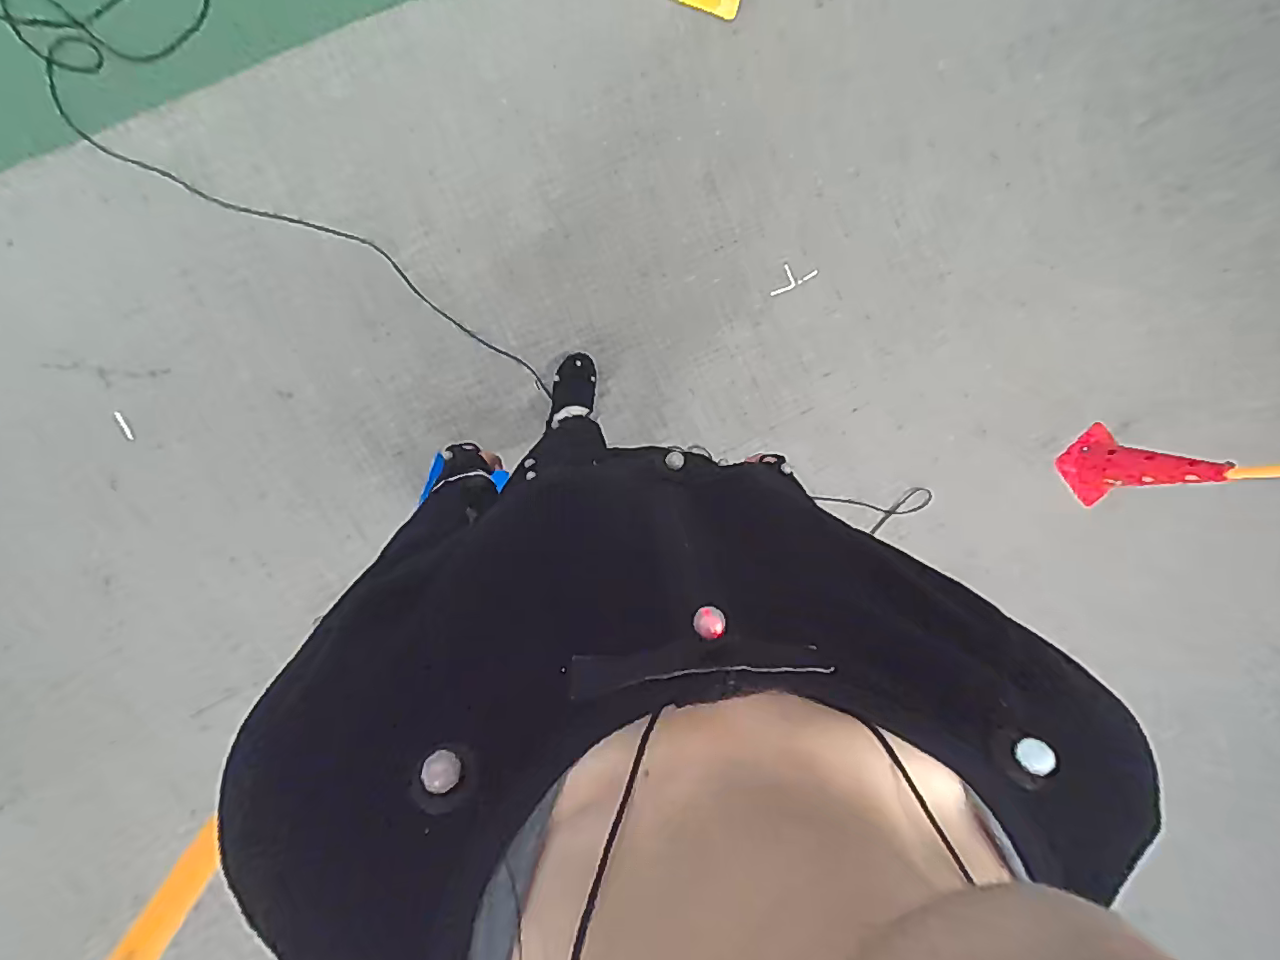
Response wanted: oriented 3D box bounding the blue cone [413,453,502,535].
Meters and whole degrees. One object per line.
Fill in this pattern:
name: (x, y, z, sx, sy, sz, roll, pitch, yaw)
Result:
blue cone: (-0.445, 0.062, 1.248, 0.192, 0.380, 0.193, 20, 95, -10)
